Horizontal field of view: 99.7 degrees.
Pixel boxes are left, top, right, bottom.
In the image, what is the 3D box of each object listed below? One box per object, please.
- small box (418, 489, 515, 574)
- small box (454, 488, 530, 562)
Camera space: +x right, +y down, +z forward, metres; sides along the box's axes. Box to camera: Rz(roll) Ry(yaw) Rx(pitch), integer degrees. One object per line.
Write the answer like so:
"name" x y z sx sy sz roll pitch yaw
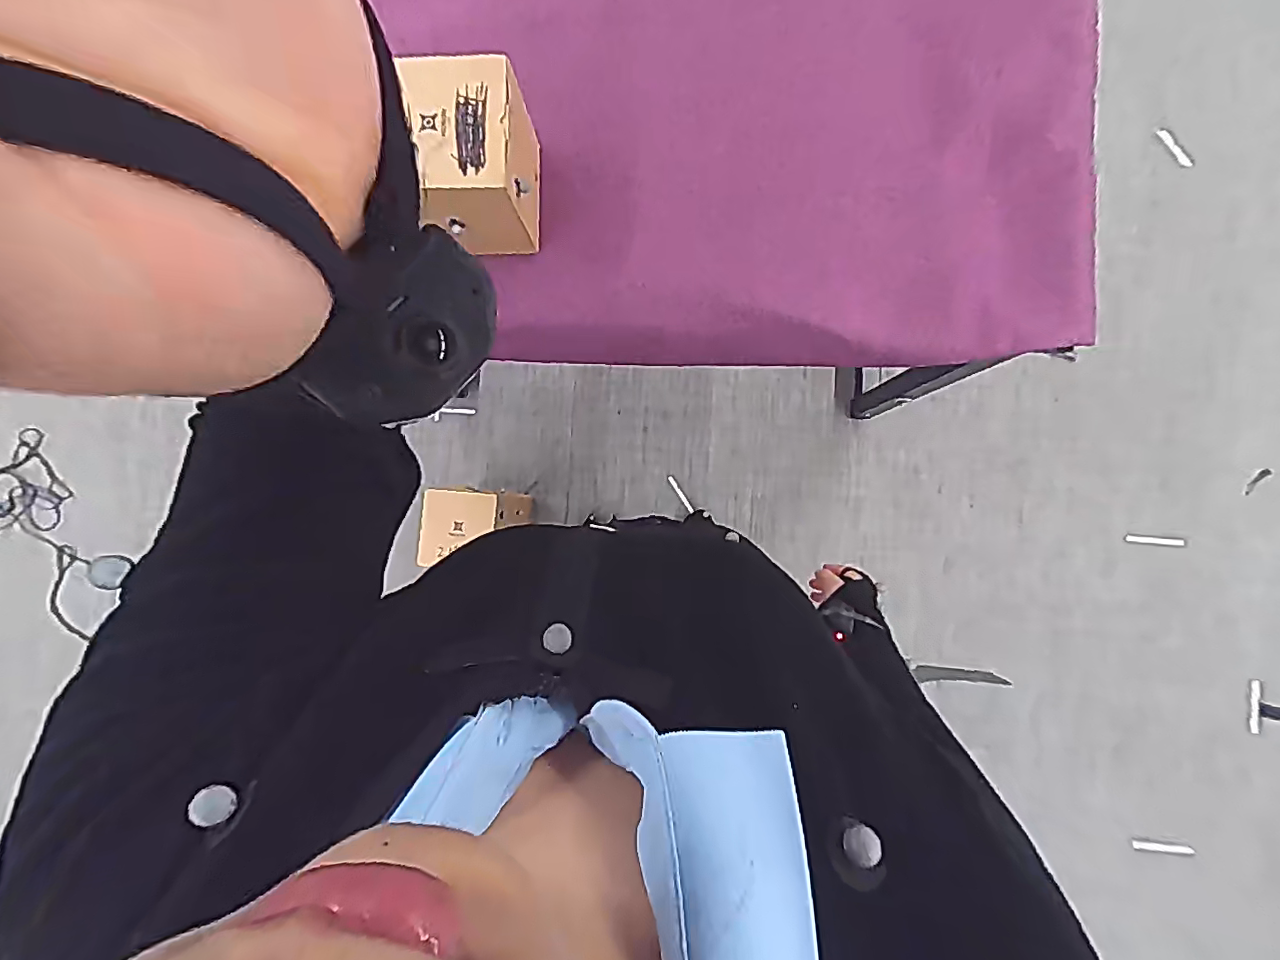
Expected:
"small box" -0.398 0.118 1.270 0.168 0.176 0.179 5 88 2
"small box" -0.401 0.122 1.436 0.168 0.176 0.179 10 87 2
